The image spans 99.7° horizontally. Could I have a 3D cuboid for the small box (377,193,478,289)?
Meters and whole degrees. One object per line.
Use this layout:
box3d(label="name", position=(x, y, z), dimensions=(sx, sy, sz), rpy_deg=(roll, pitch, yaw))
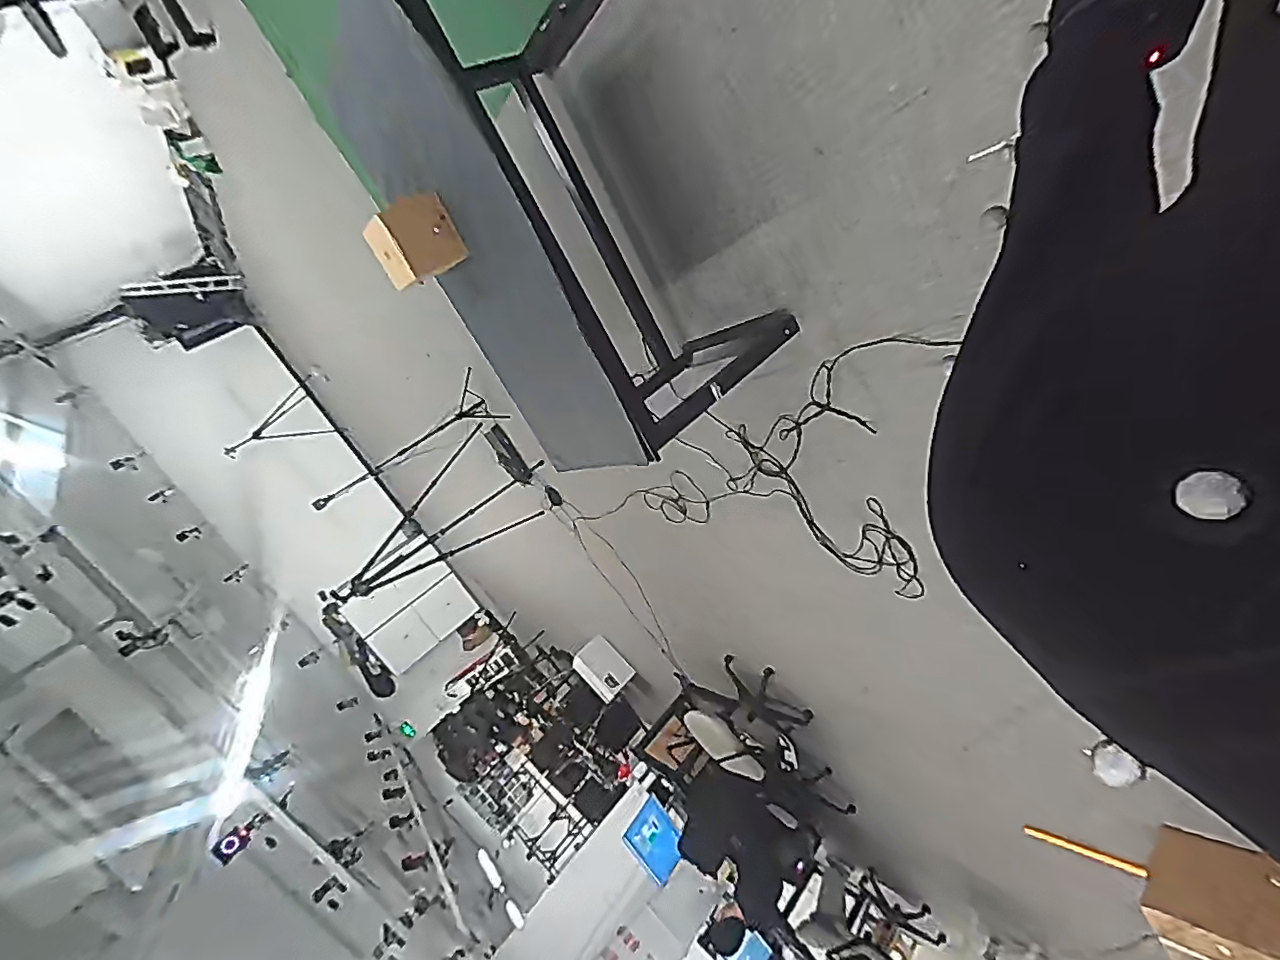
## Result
box3d(label="small box", position=(-0.562, -0.634, 1.441), dimensions=(0.179, 0.176, 0.168), rpy_deg=(8, 131, 52))
